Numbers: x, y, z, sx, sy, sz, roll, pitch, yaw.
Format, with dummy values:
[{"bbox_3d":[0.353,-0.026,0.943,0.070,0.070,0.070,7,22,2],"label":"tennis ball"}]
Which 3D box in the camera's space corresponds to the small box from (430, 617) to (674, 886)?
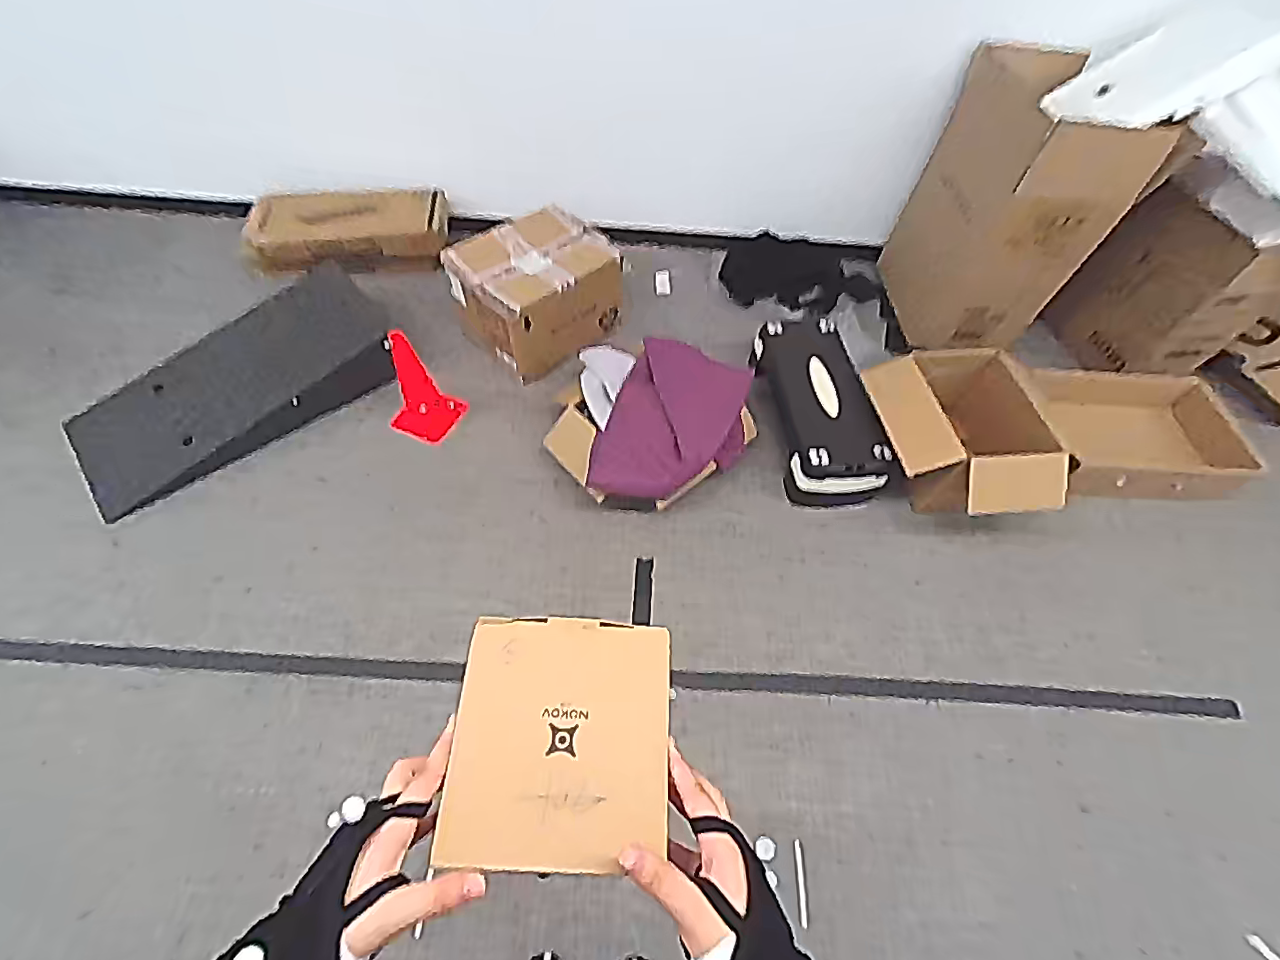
[{"bbox_3d":[-0.062,0.231,0.472,0.168,0.176,0.179,3,61,-2],"label":"small box"}]
